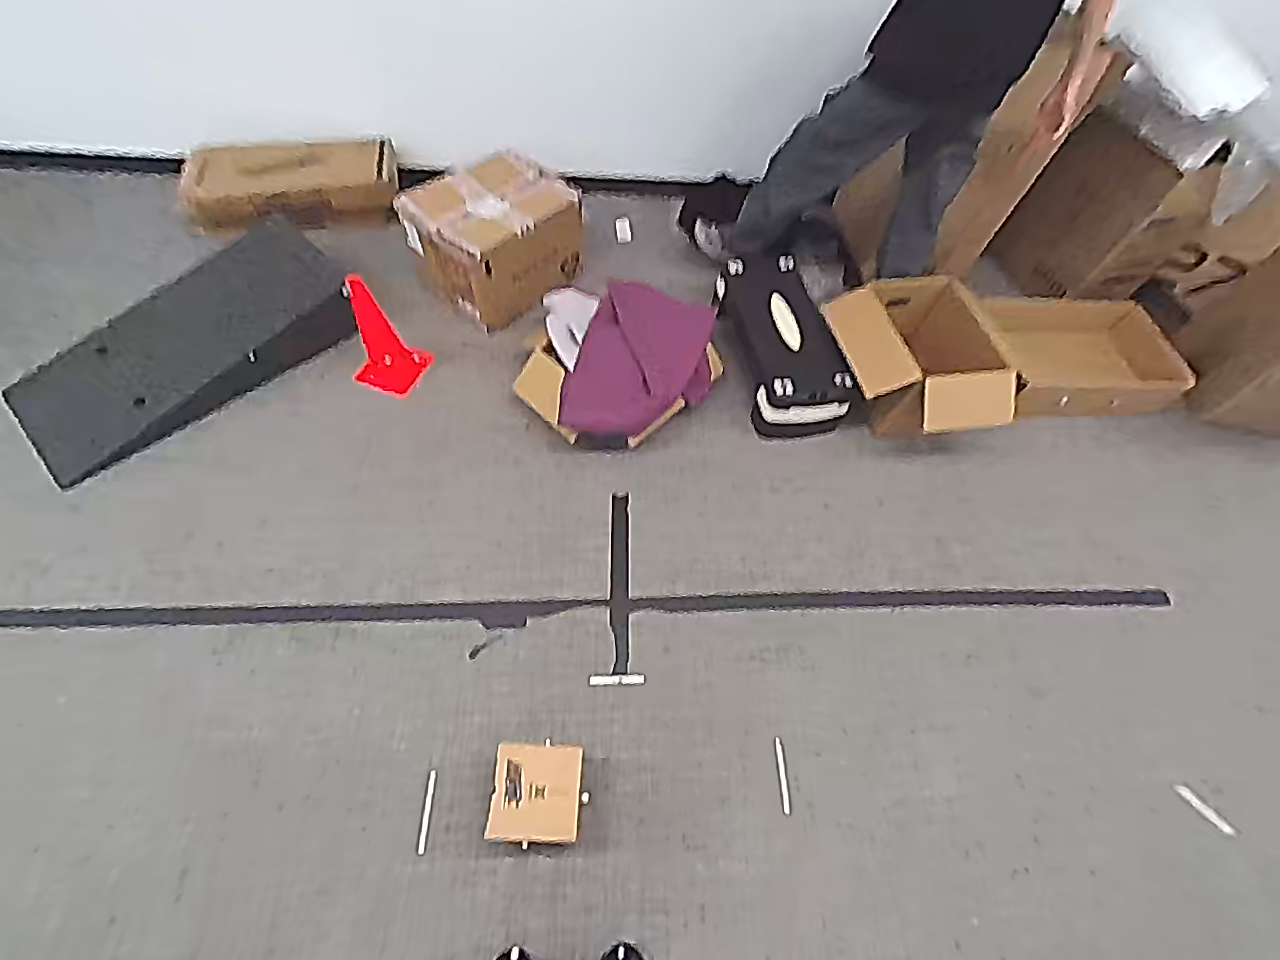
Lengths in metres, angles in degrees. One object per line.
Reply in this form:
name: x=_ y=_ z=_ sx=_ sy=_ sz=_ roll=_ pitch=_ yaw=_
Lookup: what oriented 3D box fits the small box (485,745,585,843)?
small box: x=-0.211 y=0.663 z=1.140 sx=0.179 sy=0.176 sz=0.168 roll=4 pitch=59 yaw=-3
